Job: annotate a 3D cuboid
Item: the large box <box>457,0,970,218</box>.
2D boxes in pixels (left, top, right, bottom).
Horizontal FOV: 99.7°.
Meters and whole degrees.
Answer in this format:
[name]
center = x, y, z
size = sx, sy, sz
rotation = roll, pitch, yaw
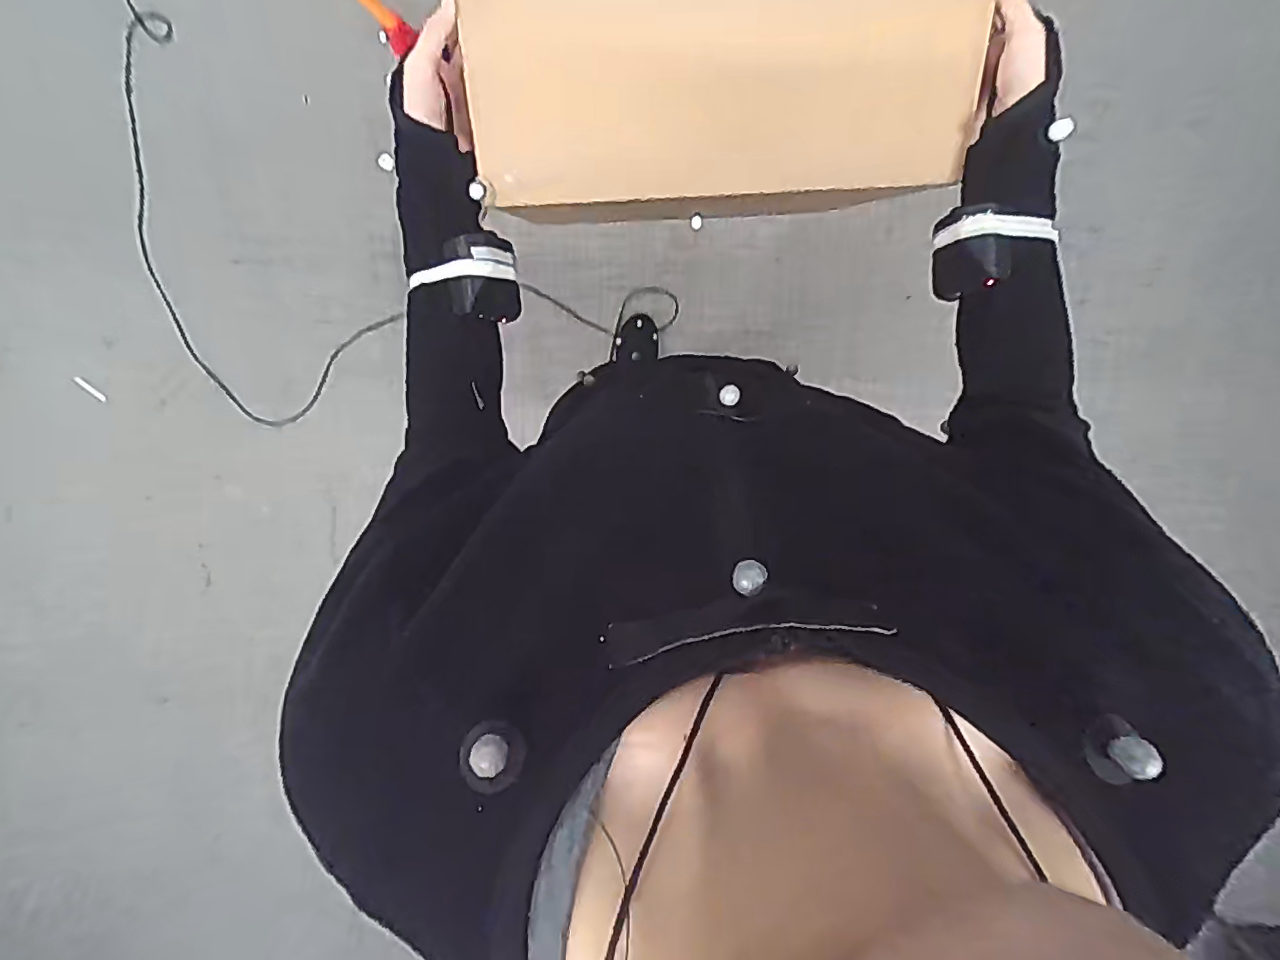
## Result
[large box]
center = 0.053, -0.449, 0.540
size = 0.408, 0.320, 0.320
rotation = -4, 112, -1
